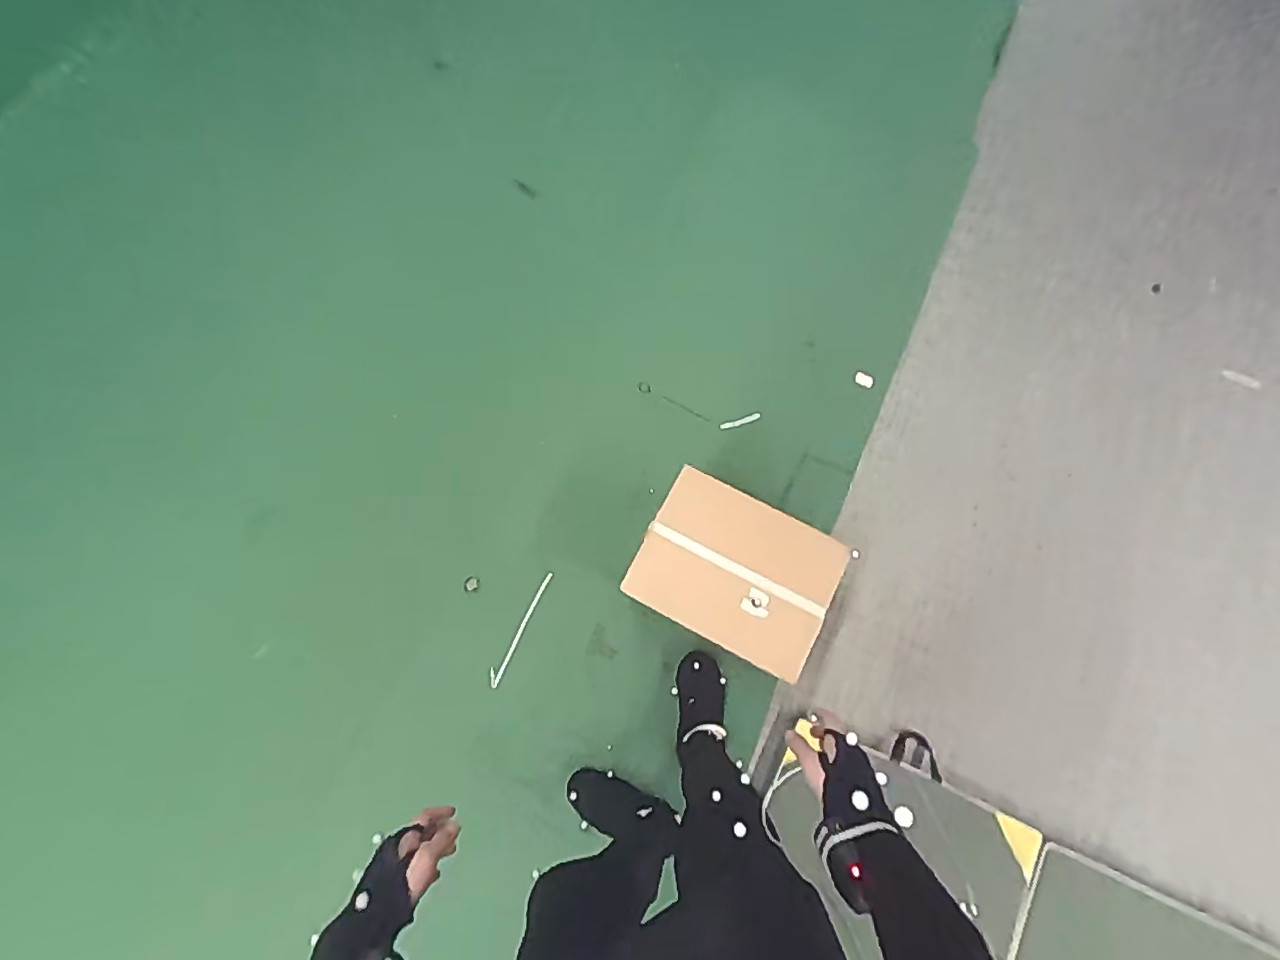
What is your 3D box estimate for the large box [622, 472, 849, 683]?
[{"bbox_3d":[0.203,0.231,1.289,0.408,0.320,0.320,27,79,8],"label":"large box"}]
